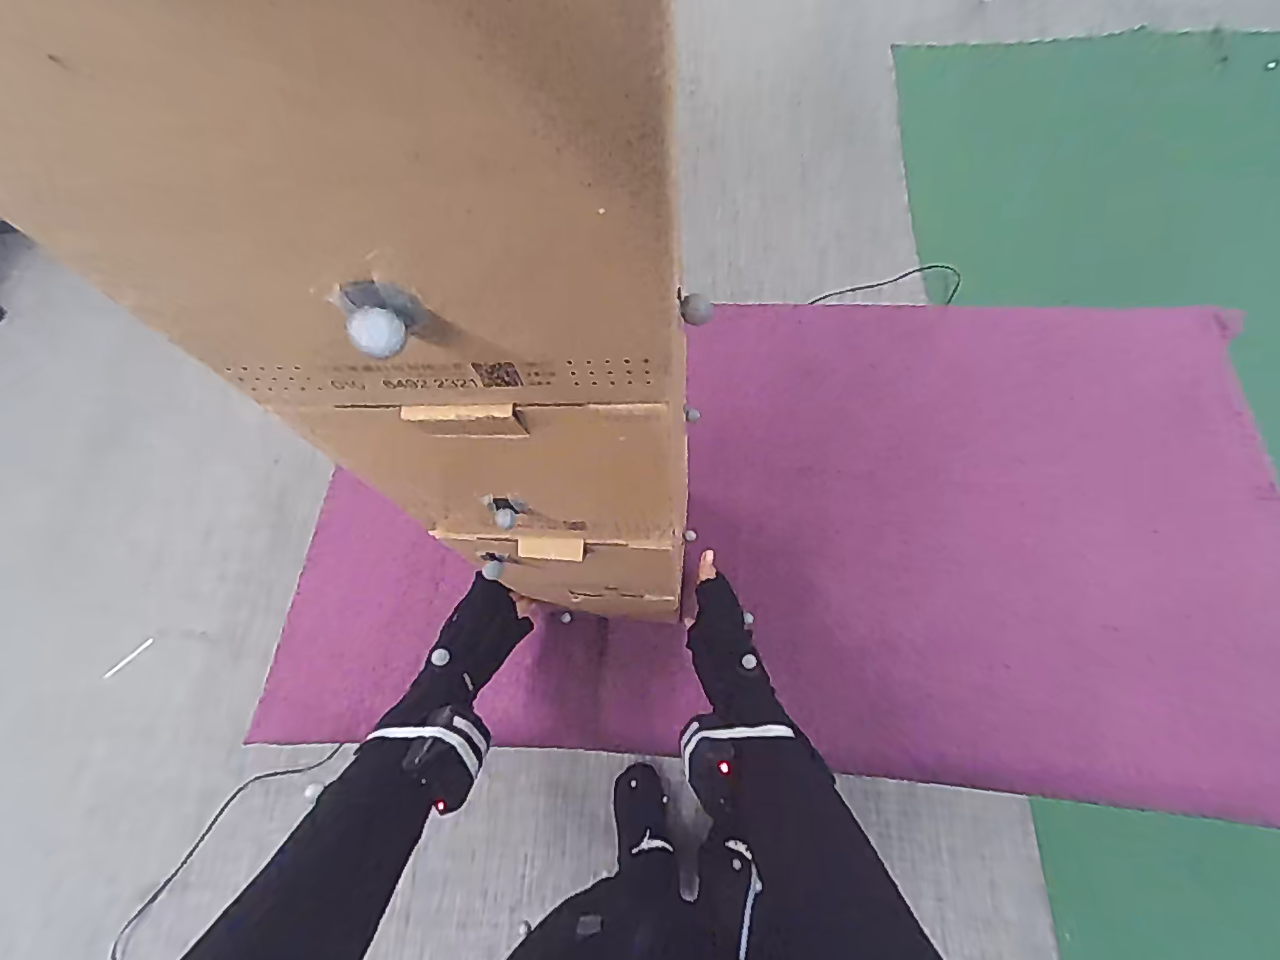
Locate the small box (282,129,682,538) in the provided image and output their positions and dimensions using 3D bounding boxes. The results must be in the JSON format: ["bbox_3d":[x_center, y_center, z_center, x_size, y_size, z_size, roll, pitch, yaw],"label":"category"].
[{"bbox_3d":[-0.060,-0.076,0.324,0.168,0.176,0.179,0,67,5],"label":"small box"}]

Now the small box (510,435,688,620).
[{"bbox_3d":[-0.032,0.058,0.622,0.168,0.176,0.179,3,67,6],"label":"small box"}]

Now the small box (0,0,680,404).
[{"bbox_3d":[-0.072,-0.143,0.174,0.168,0.176,0.179,0,67,5],"label":"small box"}]
